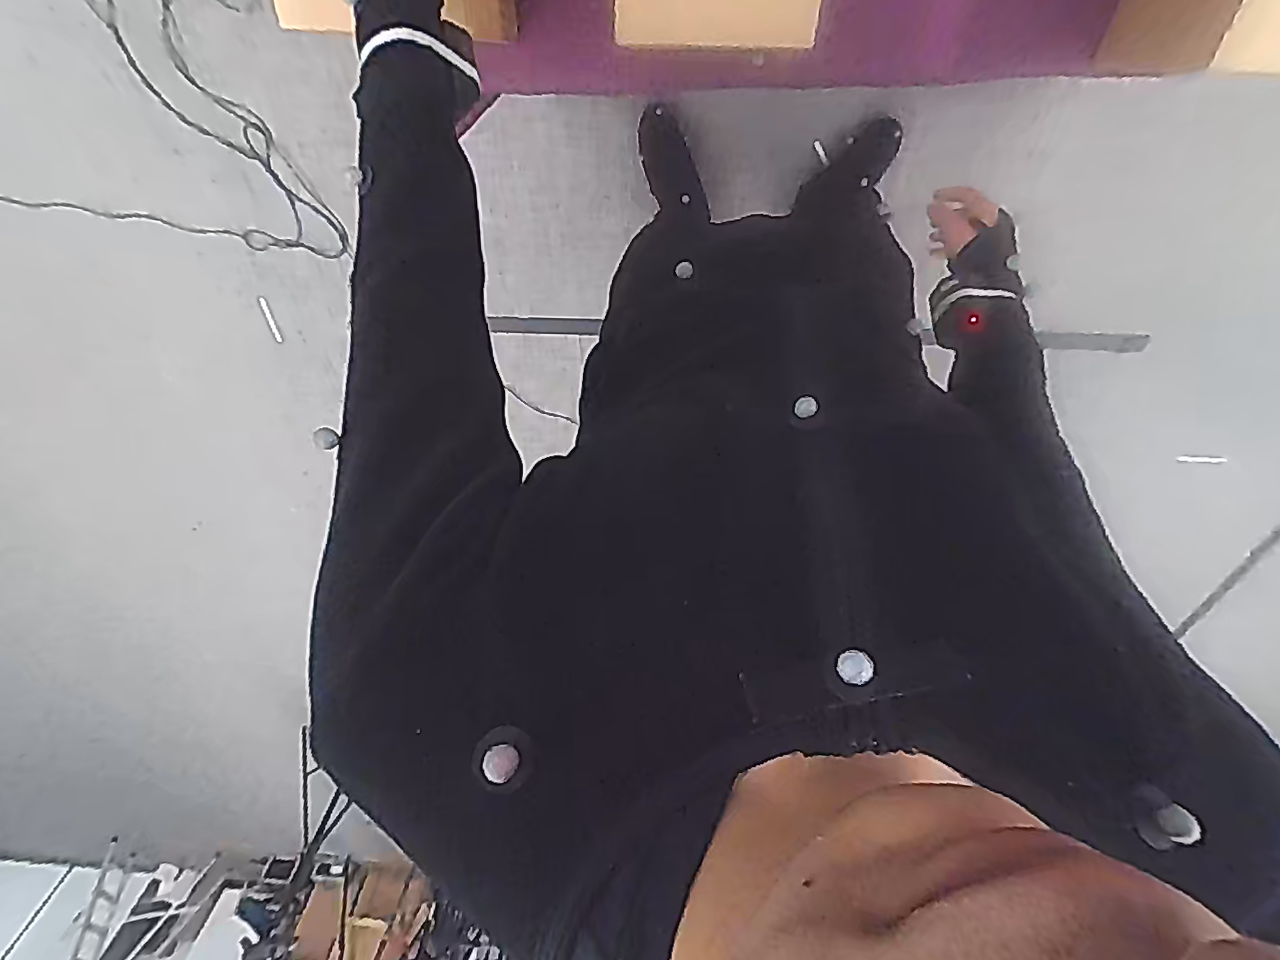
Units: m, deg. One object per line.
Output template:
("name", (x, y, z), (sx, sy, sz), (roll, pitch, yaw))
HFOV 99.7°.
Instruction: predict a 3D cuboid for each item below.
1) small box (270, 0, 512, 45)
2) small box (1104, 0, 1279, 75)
("small box", (-0.231, -0.511, 0.497), (0.179, 0.176, 0.168), (3, 128, 1))
("small box", (0.563, -0.460, 0.464), (0.168, 0.176, 0.179), (4, 129, 3))
